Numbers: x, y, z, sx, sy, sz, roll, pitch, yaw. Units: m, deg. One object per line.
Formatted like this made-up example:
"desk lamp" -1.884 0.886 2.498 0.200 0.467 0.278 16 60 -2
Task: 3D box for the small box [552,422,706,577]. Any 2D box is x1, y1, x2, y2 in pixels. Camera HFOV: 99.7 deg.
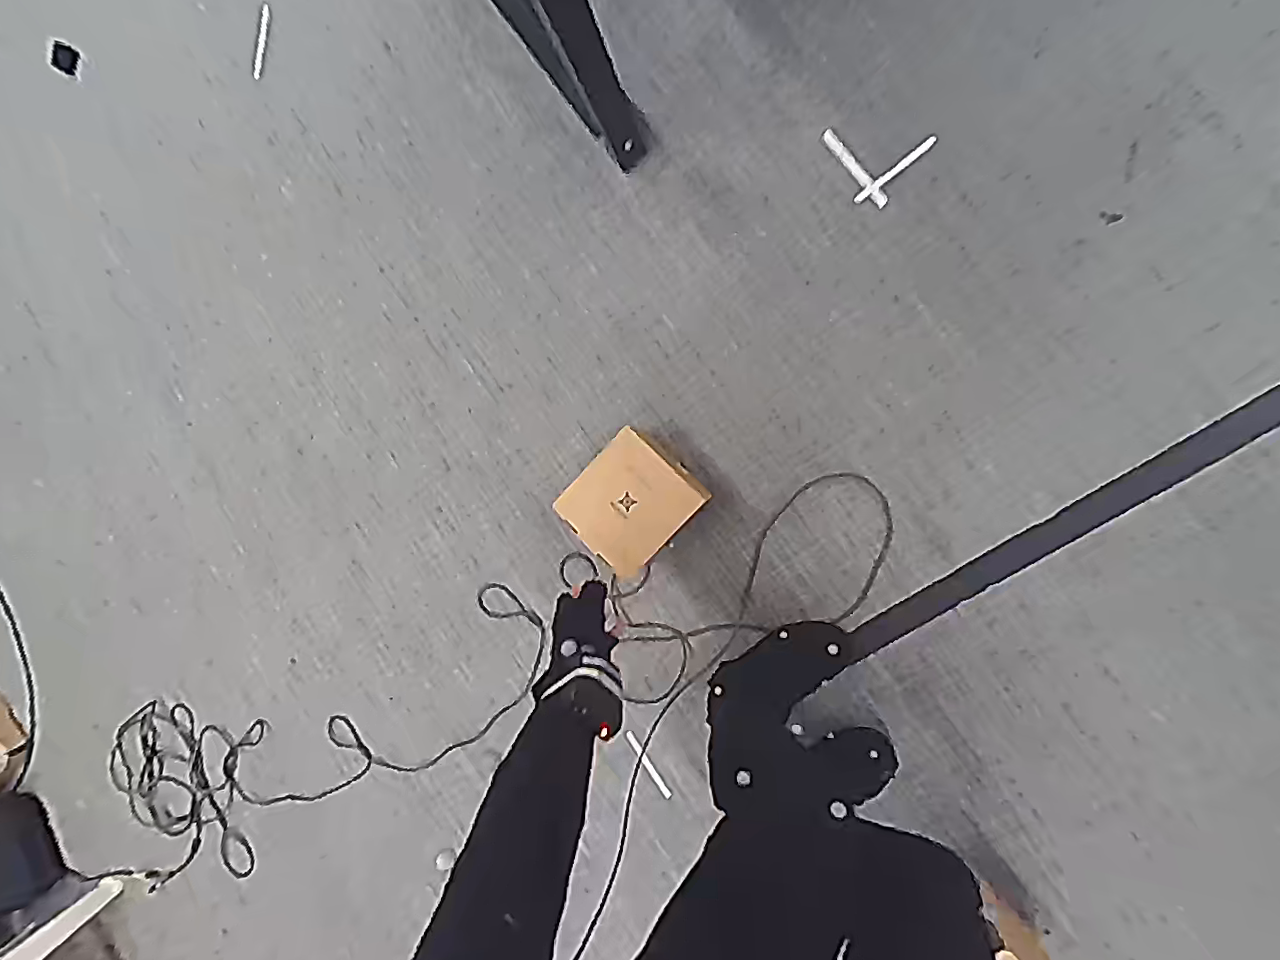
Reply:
"small box" -0.007 0.027 0.882 0.168 0.176 0.179 43 99 6

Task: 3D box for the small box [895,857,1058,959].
"small box" 0.508 0.723 0.804 0.168 0.176 0.179 46 102 7
